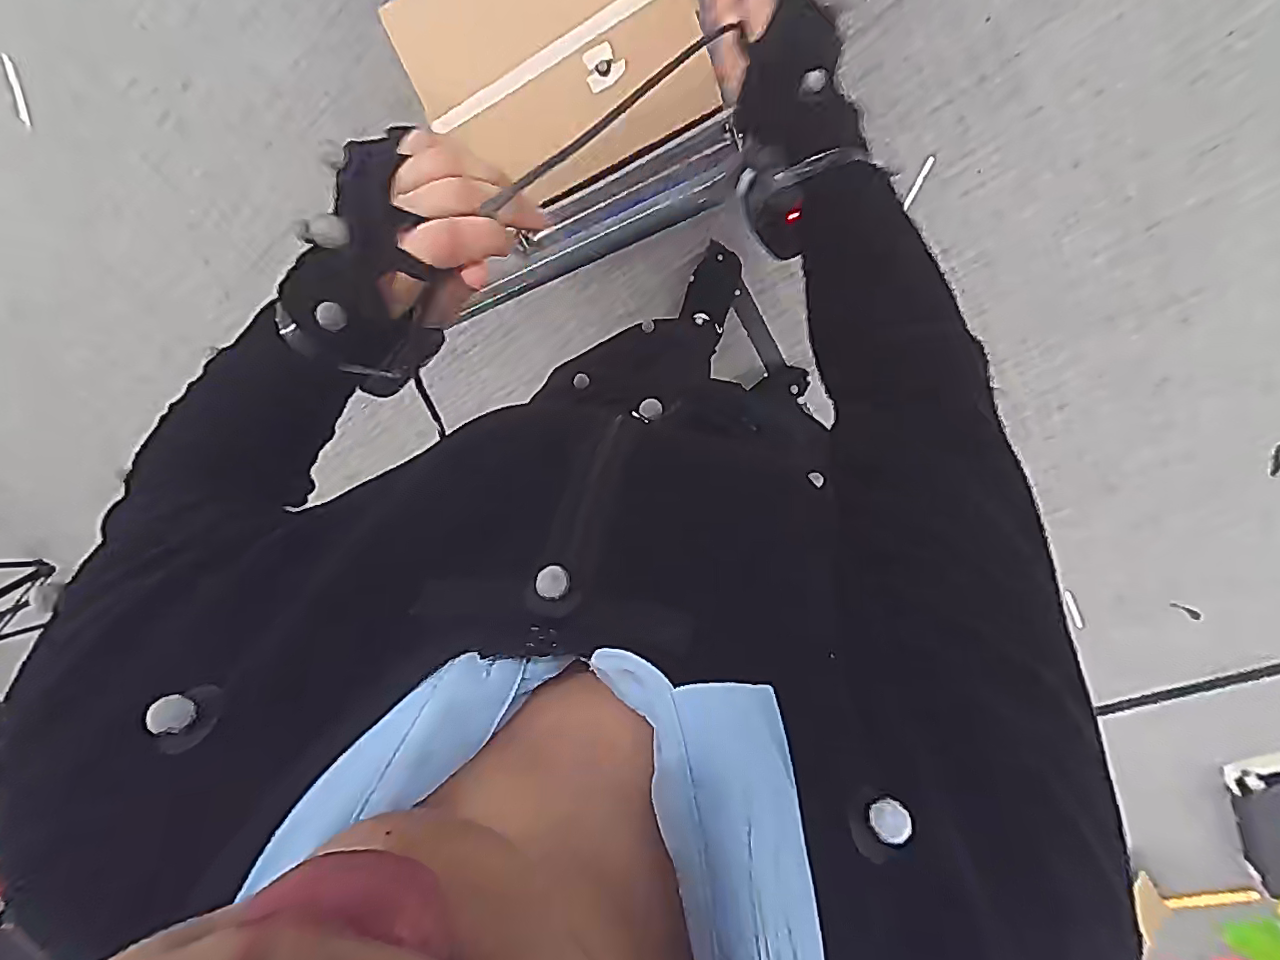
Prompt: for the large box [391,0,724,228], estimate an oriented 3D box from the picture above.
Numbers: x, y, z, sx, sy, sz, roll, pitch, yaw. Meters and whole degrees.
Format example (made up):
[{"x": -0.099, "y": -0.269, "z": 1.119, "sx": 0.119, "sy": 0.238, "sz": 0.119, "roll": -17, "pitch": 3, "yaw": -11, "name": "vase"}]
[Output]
[{"x": -0.101, "y": -0.665, "z": 0.896, "sx": 0.408, "sy": 0.320, "sz": 0.320, "roll": -19, "pitch": 114, "yaw": 18, "name": "large box"}]
